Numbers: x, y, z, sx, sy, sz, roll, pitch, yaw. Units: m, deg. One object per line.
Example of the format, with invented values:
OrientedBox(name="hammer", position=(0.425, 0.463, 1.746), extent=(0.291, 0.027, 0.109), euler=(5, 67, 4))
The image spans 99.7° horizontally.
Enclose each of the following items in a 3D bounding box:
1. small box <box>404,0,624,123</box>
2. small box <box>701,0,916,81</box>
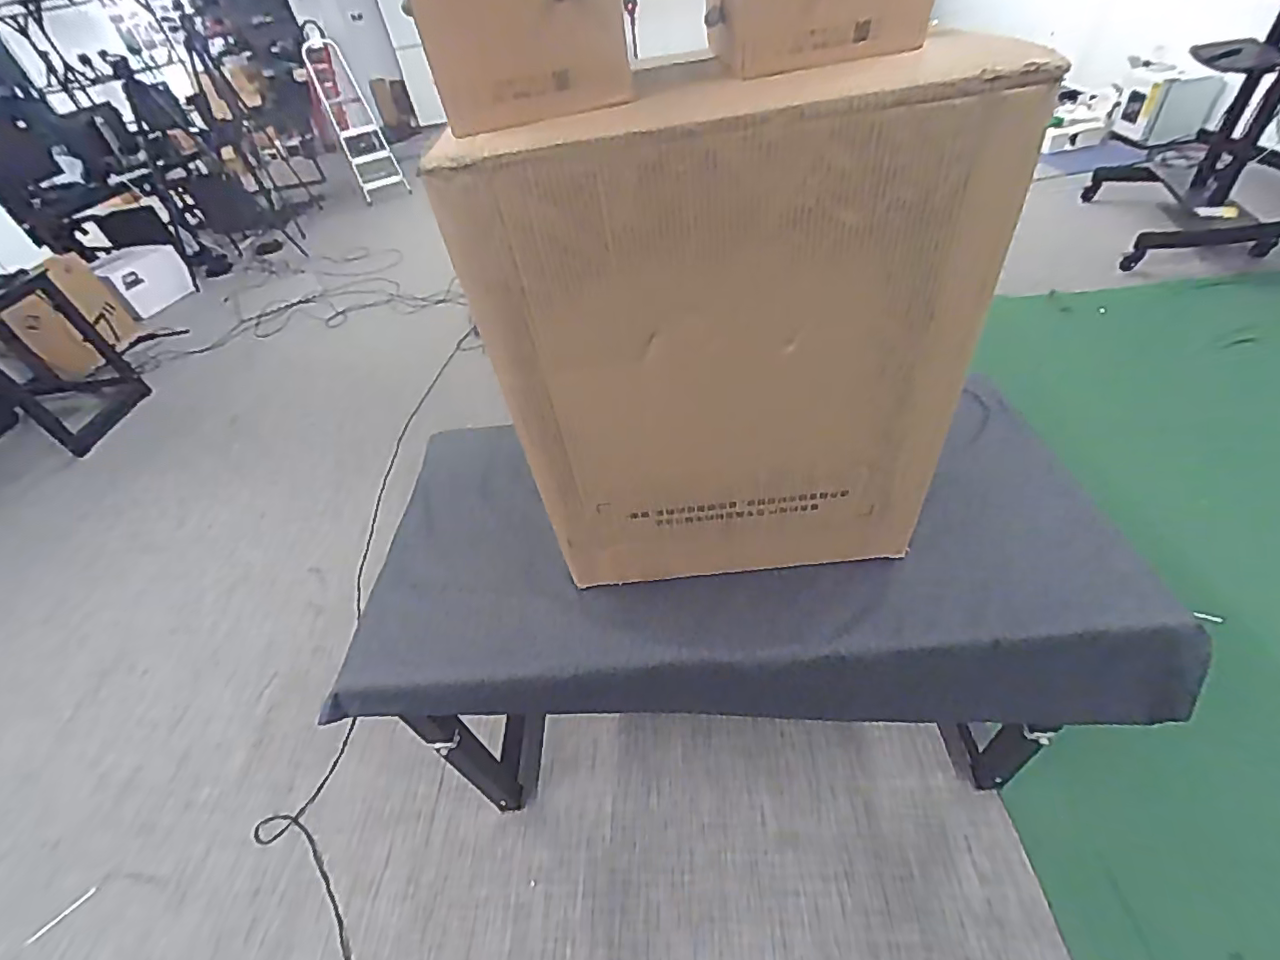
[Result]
OrientedBox(name="small box", position=(-0.117, -0.441, 0.480), extent=(0.168, 0.176, 0.179), euler=(-14, 47, -2))
OrientedBox(name="small box", position=(0.146, -0.485, 0.488), extent=(0.168, 0.176, 0.179), euler=(-9, 47, 2))
